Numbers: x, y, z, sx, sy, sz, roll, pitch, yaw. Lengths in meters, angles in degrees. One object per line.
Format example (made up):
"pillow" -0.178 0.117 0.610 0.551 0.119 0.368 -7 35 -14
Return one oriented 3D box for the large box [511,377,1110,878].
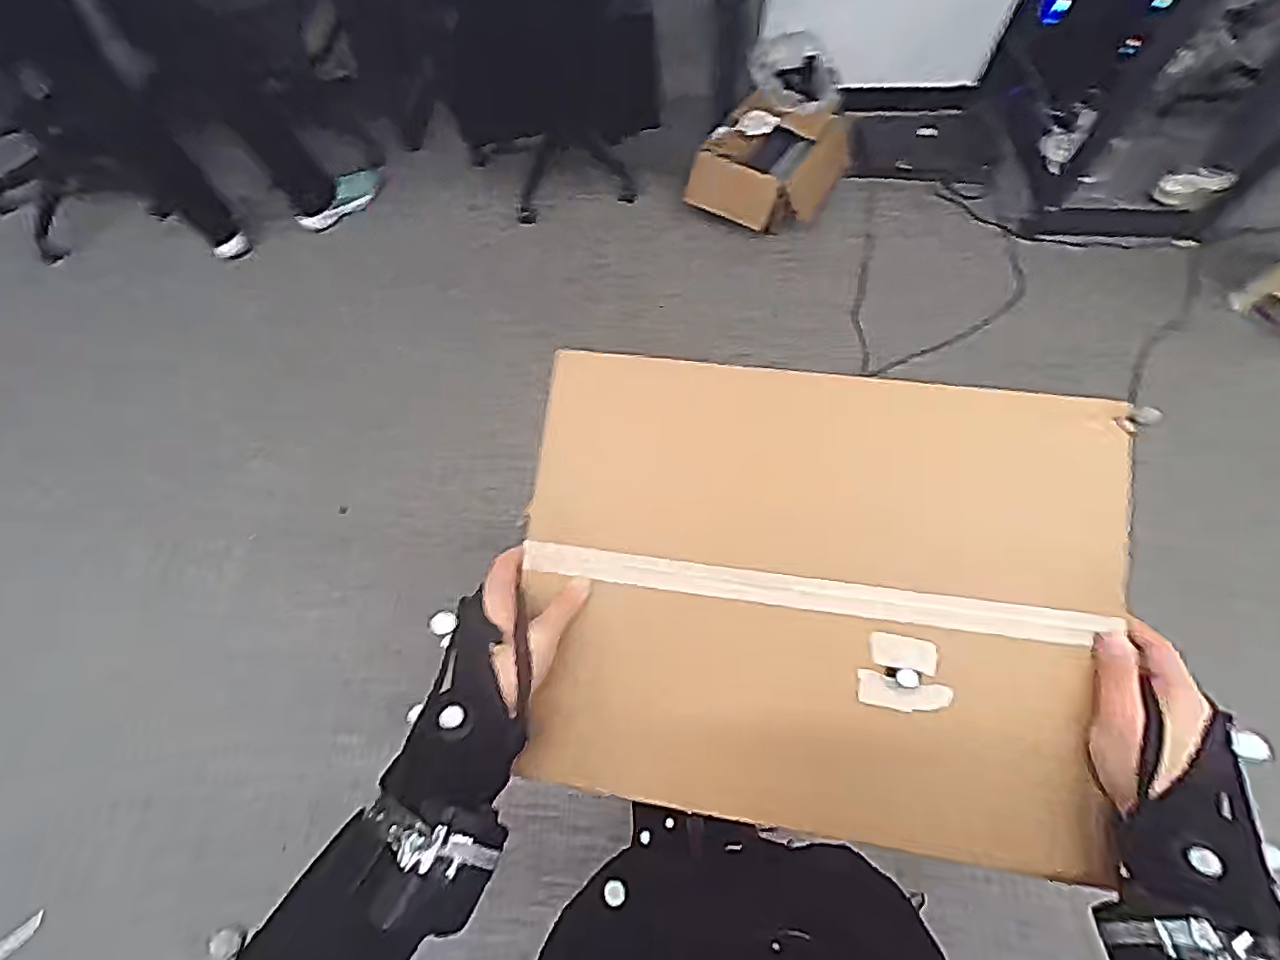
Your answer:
"large box" 0.129 0.108 0.533 0.408 0.320 0.320 7 84 6
